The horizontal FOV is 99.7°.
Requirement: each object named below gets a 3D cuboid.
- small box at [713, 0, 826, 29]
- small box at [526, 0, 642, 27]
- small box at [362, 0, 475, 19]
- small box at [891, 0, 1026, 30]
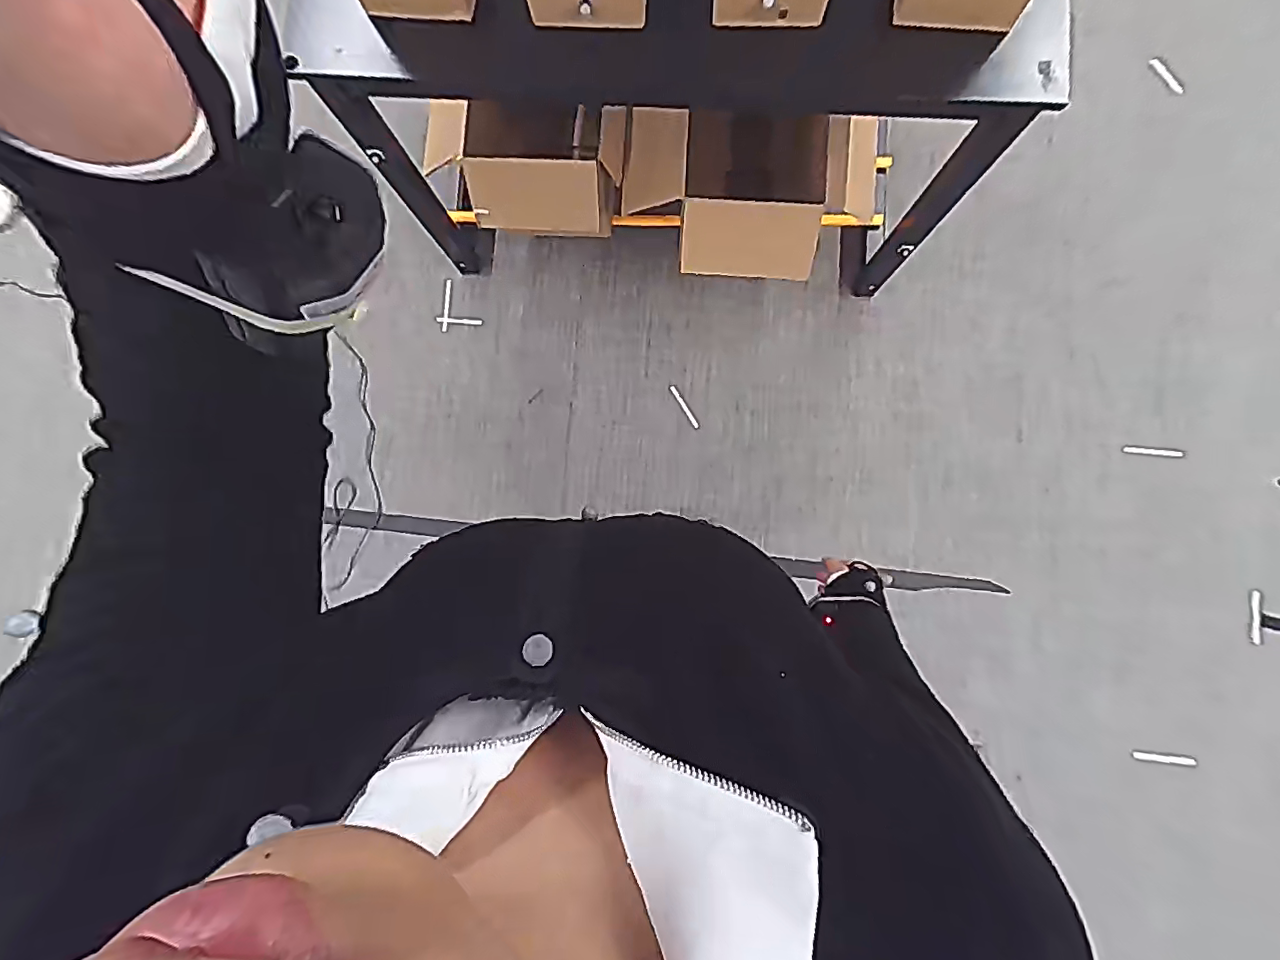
[{"bbox_3d":[0.193,-0.784,0.751,0.168,0.176,0.179,2,86,2],"label":"small box"},{"bbox_3d":[-0.079,-0.786,0.761,0.179,0.176,0.168,3,85,2],"label":"small box"},{"bbox_3d":[-0.341,-0.809,0.771,0.179,0.176,0.168,5,87,1],"label":"small box"},{"bbox_3d":[0.472,-0.764,0.737,0.179,0.176,0.168,6,84,3],"label":"small box"}]
